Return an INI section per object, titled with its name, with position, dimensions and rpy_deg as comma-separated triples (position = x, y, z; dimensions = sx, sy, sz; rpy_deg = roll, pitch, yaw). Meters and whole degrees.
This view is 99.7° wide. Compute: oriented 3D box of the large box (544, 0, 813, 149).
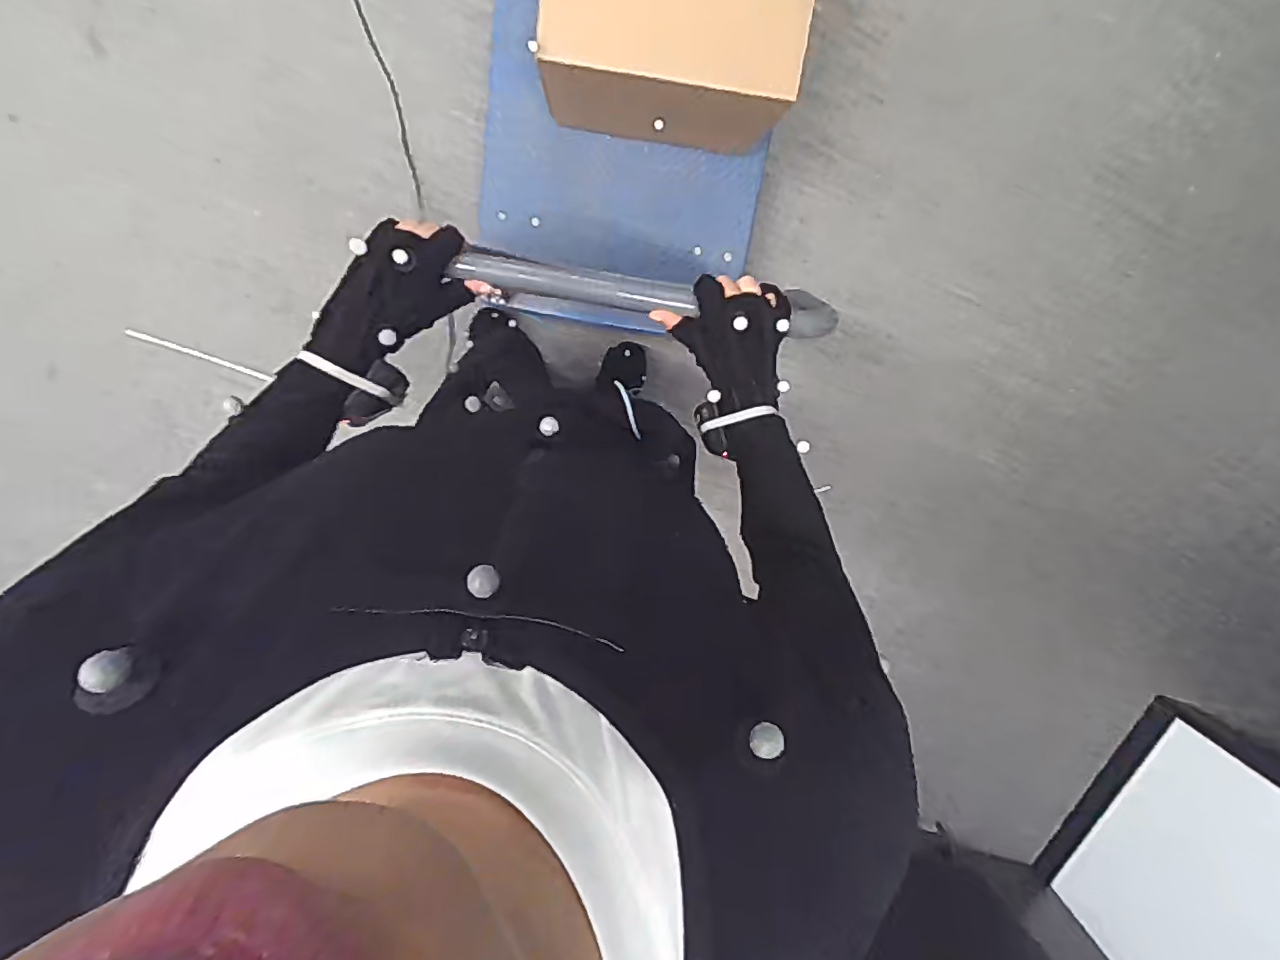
[large box]
position = 0.060, -0.801, 0.932
dimensions = 0.408, 0.320, 0.320
rpy_deg = 5, 106, -4
